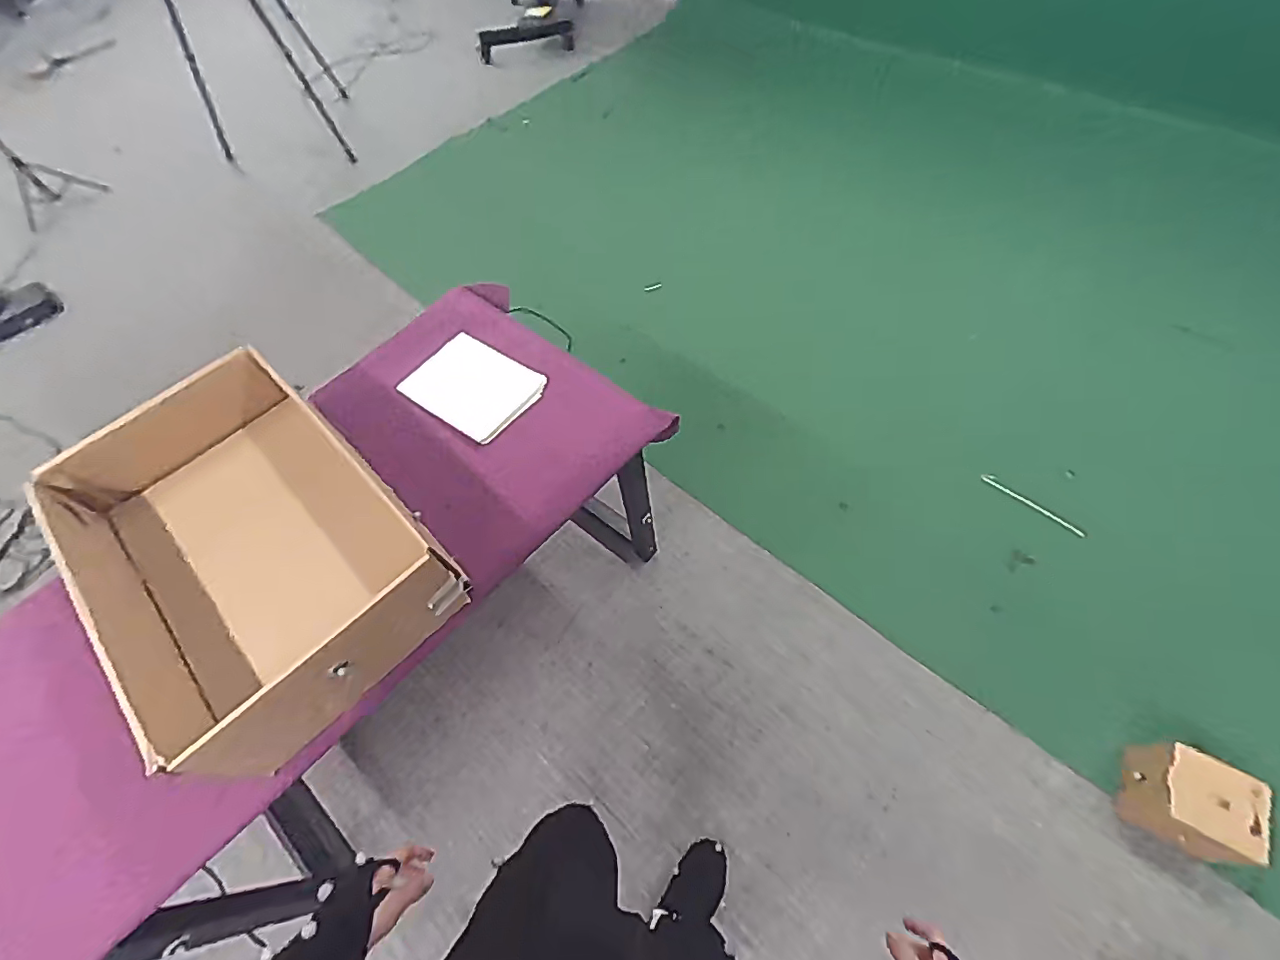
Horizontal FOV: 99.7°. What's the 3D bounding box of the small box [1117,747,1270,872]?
[{"bbox_3d":[1.215,0.727,1.199,0.179,0.176,0.168,26,64,20],"label":"small box"}]
